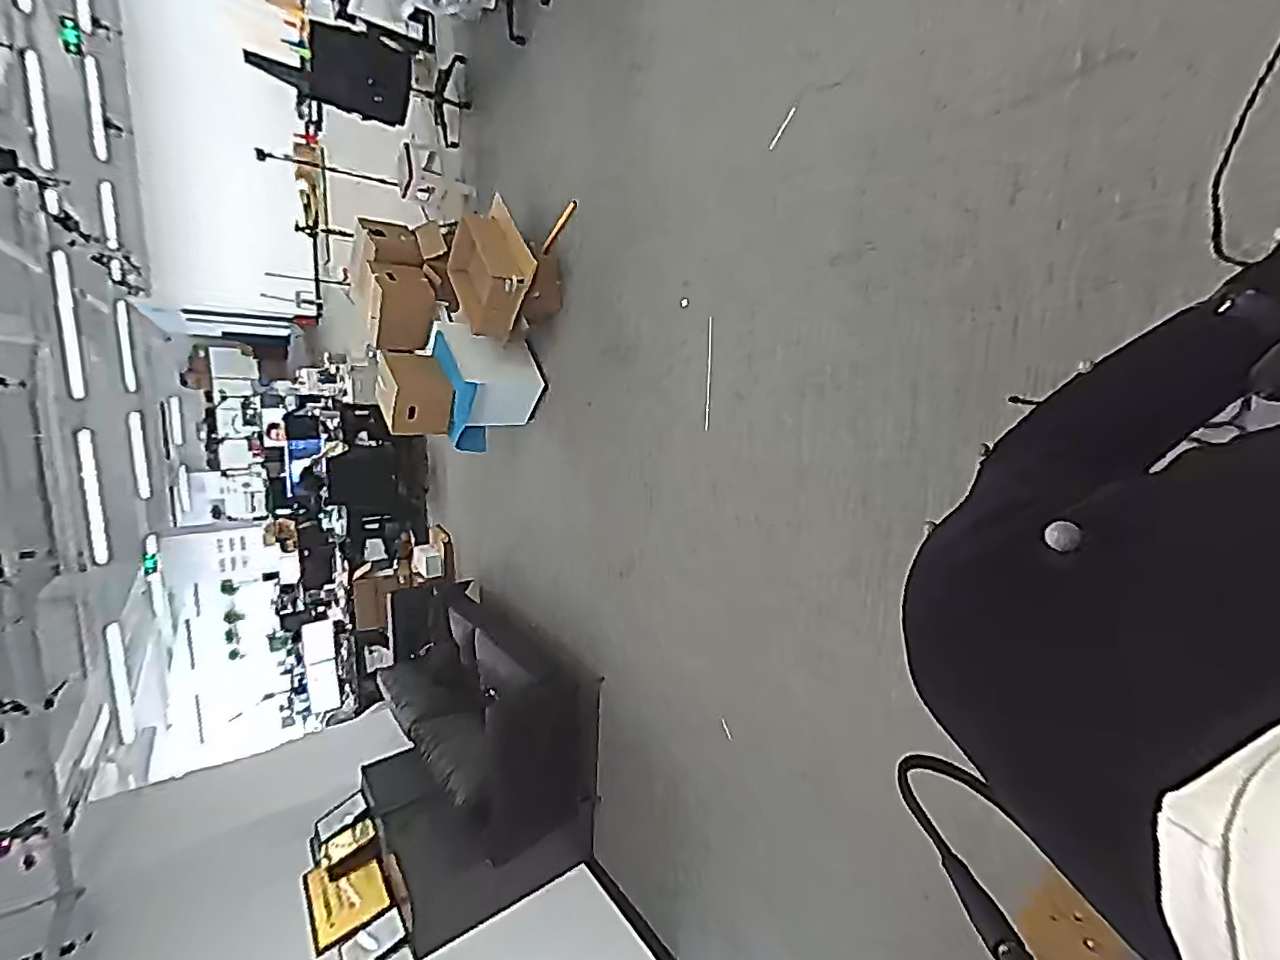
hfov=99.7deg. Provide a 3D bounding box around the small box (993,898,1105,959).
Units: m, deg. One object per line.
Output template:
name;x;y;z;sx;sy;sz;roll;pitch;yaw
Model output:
small box;0.934;1.126;1.242;0.168;0.176;0.179;18;109;51

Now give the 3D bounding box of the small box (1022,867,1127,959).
small box;1.066;1.119;1.339;0.179;0.176;0.168;16;106;52
